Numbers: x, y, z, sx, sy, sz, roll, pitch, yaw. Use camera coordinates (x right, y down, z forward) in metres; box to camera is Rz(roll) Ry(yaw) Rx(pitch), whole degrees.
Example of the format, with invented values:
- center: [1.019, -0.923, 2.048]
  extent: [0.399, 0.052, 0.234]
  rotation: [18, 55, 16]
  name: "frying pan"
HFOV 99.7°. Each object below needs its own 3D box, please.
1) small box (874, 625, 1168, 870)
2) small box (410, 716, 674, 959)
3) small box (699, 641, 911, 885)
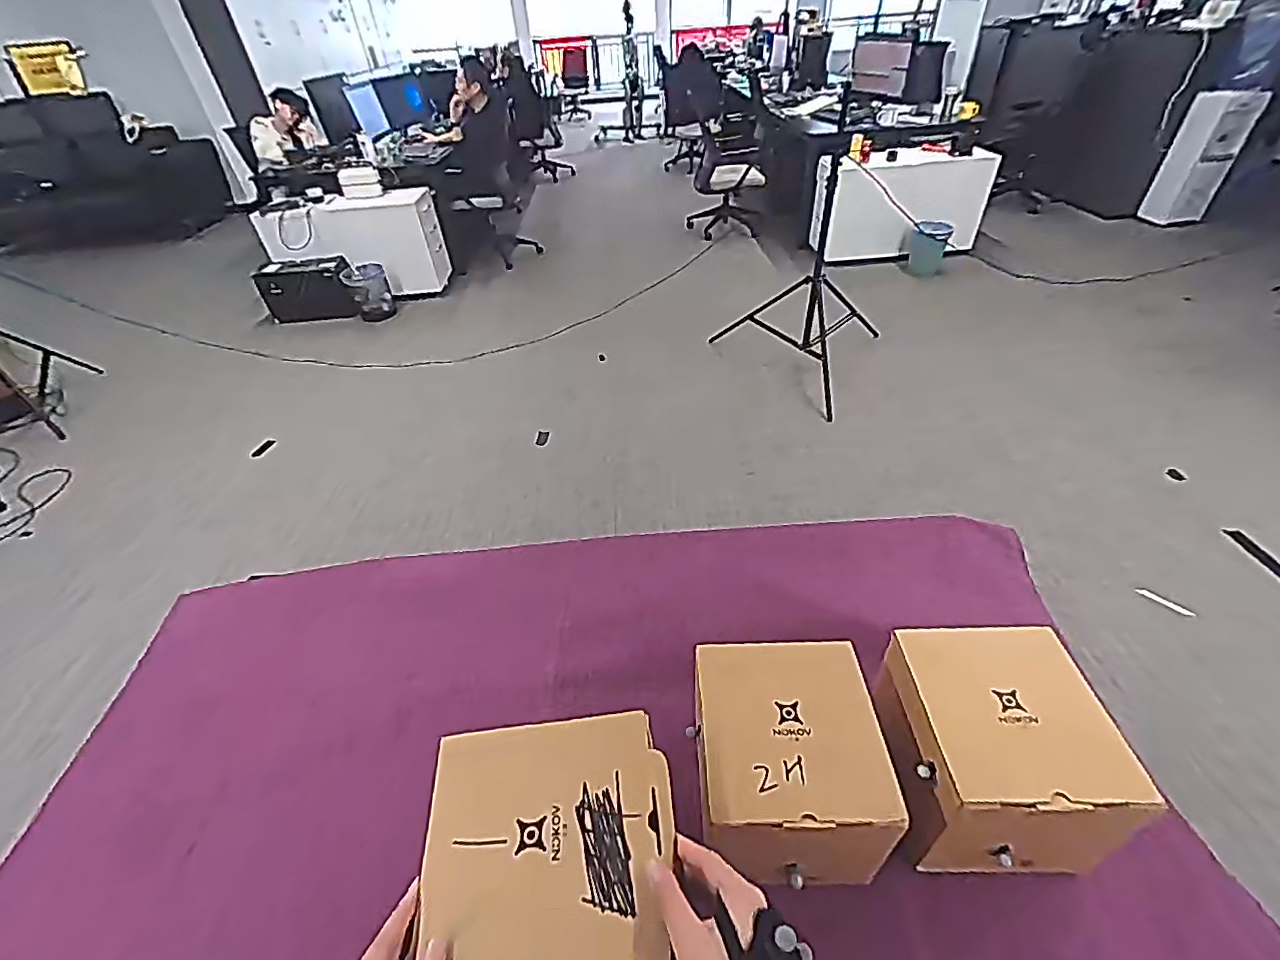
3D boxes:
- center: [0.358, 0.273, 0.560]
  extent: [0.168, 0.176, 0.179]
  rotation: [-3, 39, 4]
  name: "small box"
- center: [-0.069, 0.321, 0.458]
  extent: [0.179, 0.176, 0.168]
  rotation: [-6, 45, -2]
  name: "small box"
- center: [0.148, 0.290, 0.562]
  extent: [0.168, 0.176, 0.179]
  rotation: [-3, 40, 3]
  name: "small box"
